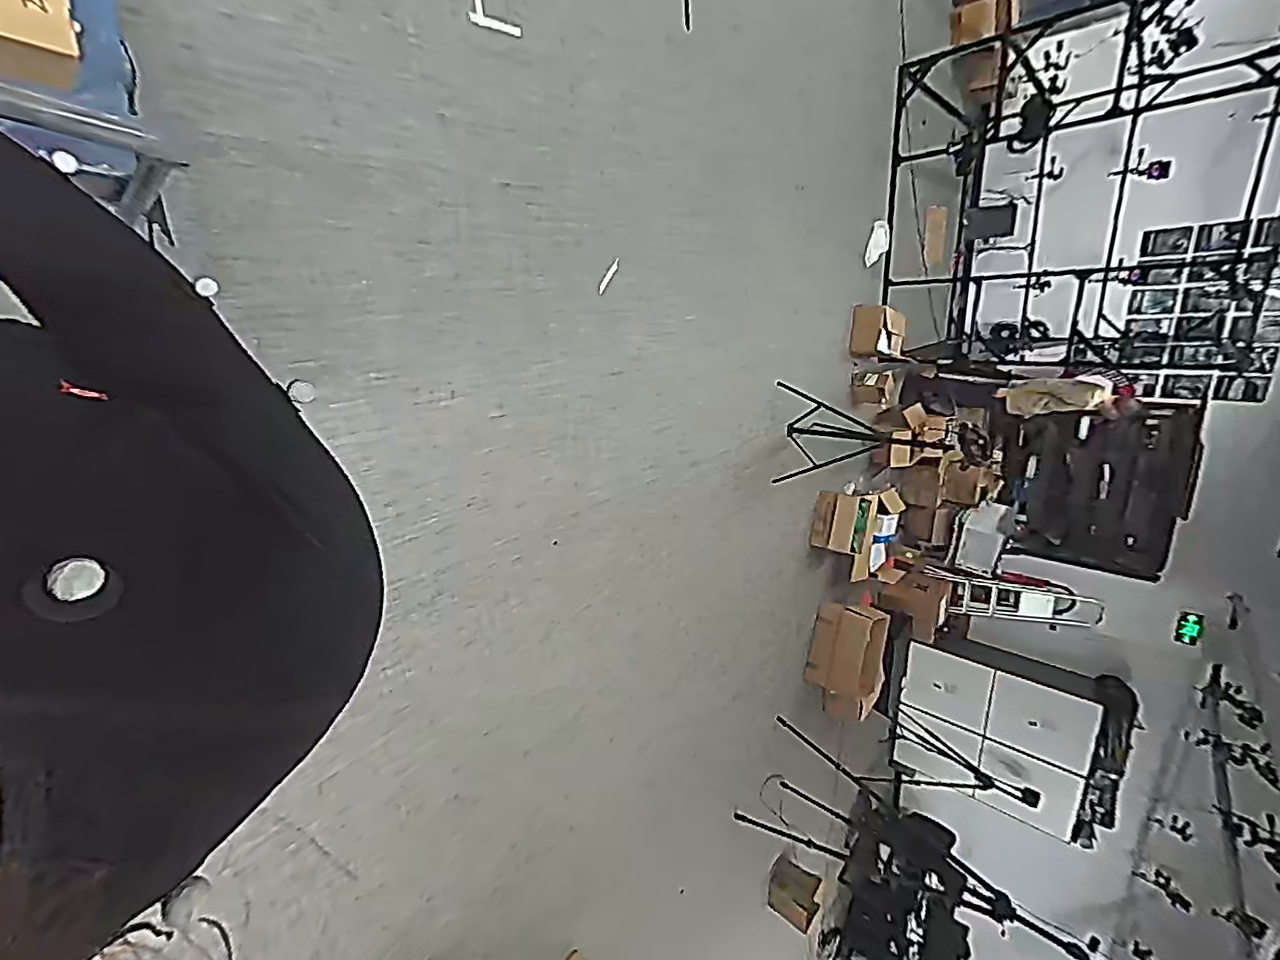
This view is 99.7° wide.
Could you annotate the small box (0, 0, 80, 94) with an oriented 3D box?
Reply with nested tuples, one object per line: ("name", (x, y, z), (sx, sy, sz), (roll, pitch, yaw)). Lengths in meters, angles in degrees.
("small box", (-0.912, -0.670, 0.743), (0.179, 0.176, 0.168), (-14, 110, -47))
